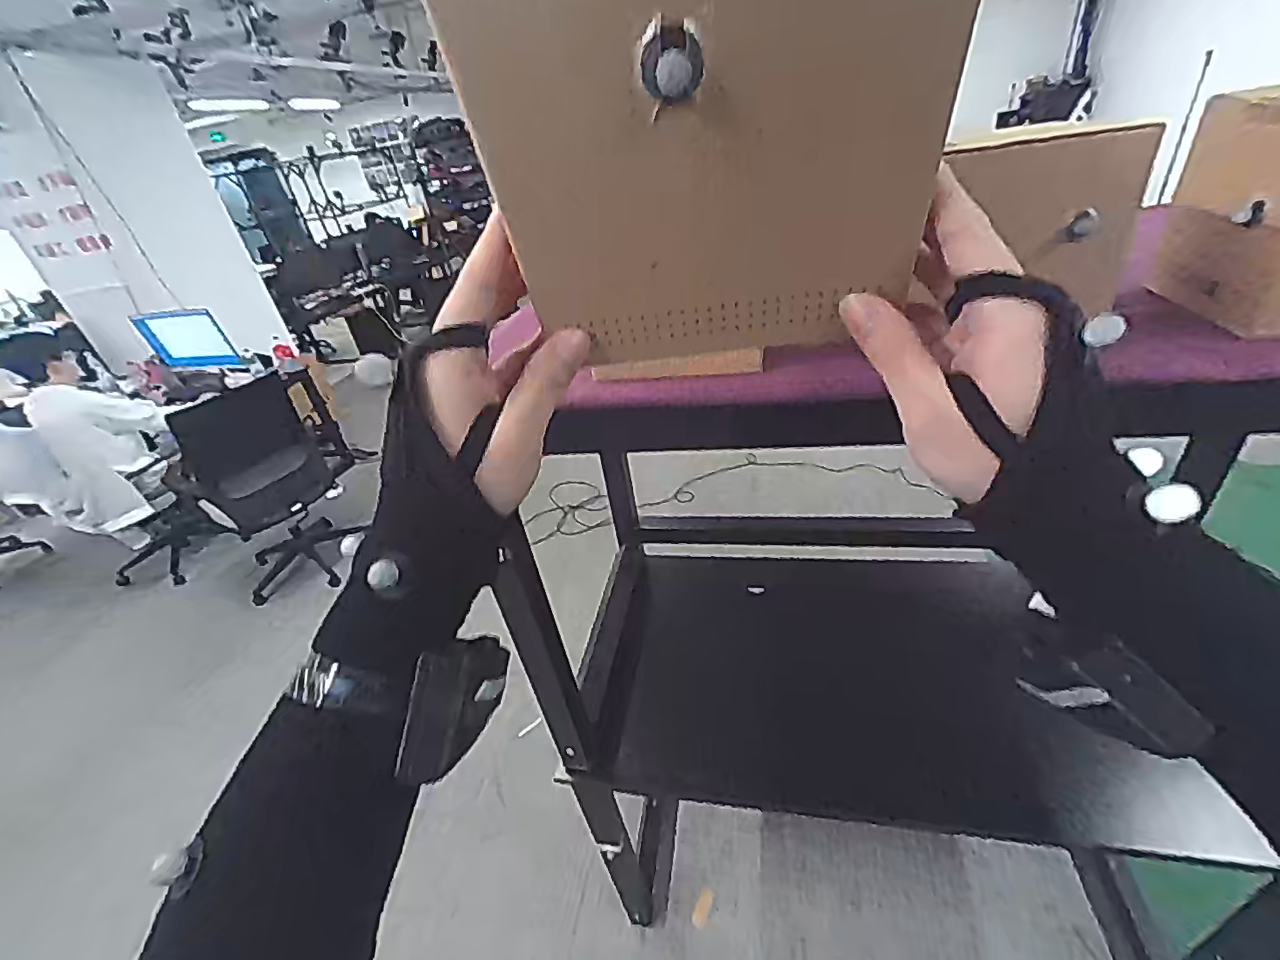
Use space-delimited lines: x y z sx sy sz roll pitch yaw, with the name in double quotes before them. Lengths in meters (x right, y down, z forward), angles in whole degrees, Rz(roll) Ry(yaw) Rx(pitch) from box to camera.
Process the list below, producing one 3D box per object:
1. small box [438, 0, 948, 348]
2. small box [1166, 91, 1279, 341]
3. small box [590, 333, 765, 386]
"small box" 0.030 -0.182 0.264 0.179 0.176 0.168 -4 52 8
"small box" 0.580 -0.218 0.434 0.179 0.176 0.168 0 35 16
"small box" 0.043 -0.209 0.569 0.179 0.176 0.168 -1 33 15
